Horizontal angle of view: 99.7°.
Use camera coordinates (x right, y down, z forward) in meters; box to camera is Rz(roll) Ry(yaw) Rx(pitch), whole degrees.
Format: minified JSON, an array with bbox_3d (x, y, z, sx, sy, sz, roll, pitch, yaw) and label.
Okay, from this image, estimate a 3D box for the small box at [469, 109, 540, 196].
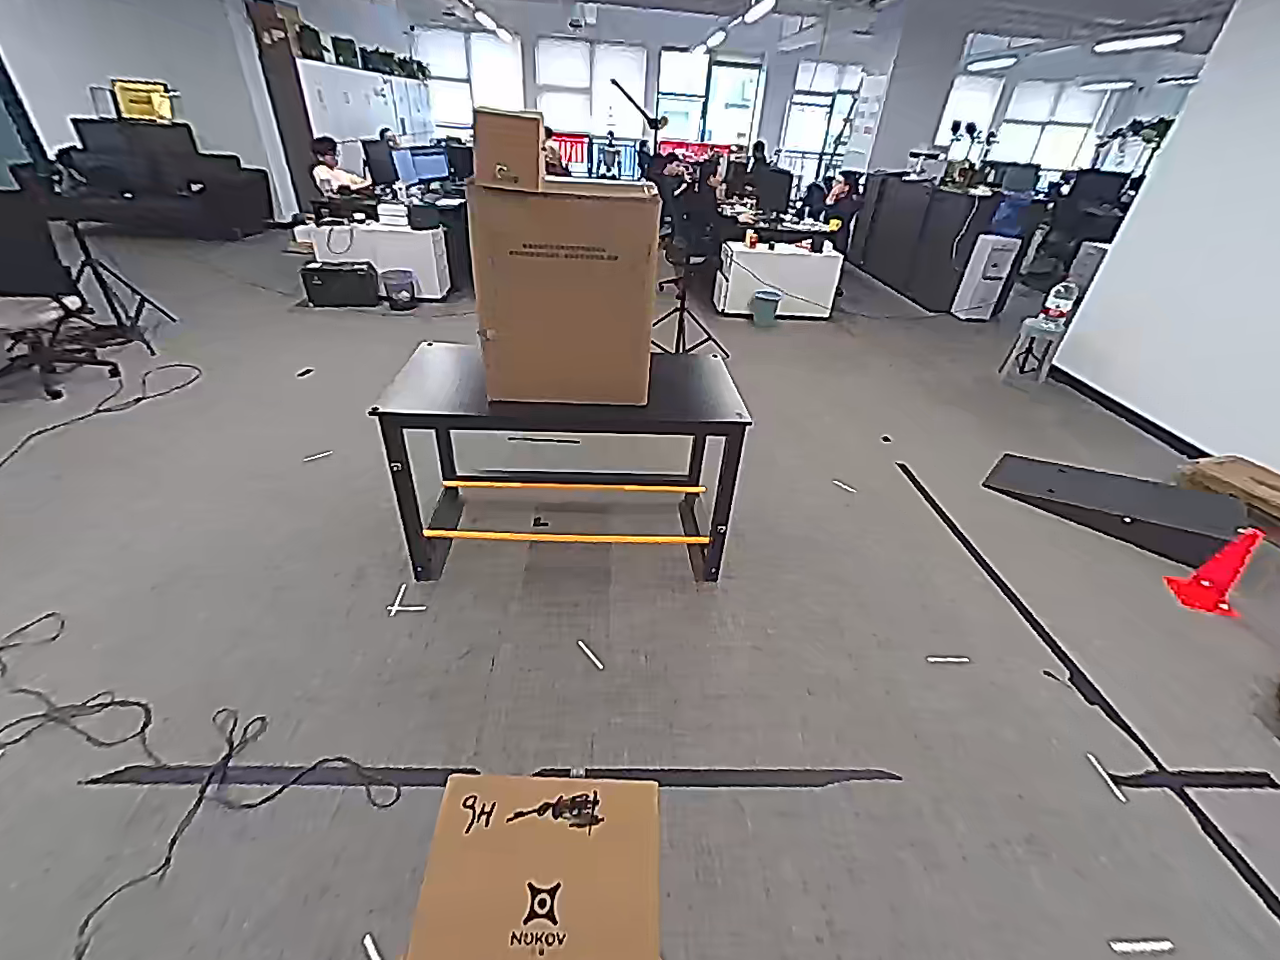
[{"bbox_3d":[-0.350,-0.861,1.421,0.168,0.176,0.179,0,37,-10],"label":"small box"}]
